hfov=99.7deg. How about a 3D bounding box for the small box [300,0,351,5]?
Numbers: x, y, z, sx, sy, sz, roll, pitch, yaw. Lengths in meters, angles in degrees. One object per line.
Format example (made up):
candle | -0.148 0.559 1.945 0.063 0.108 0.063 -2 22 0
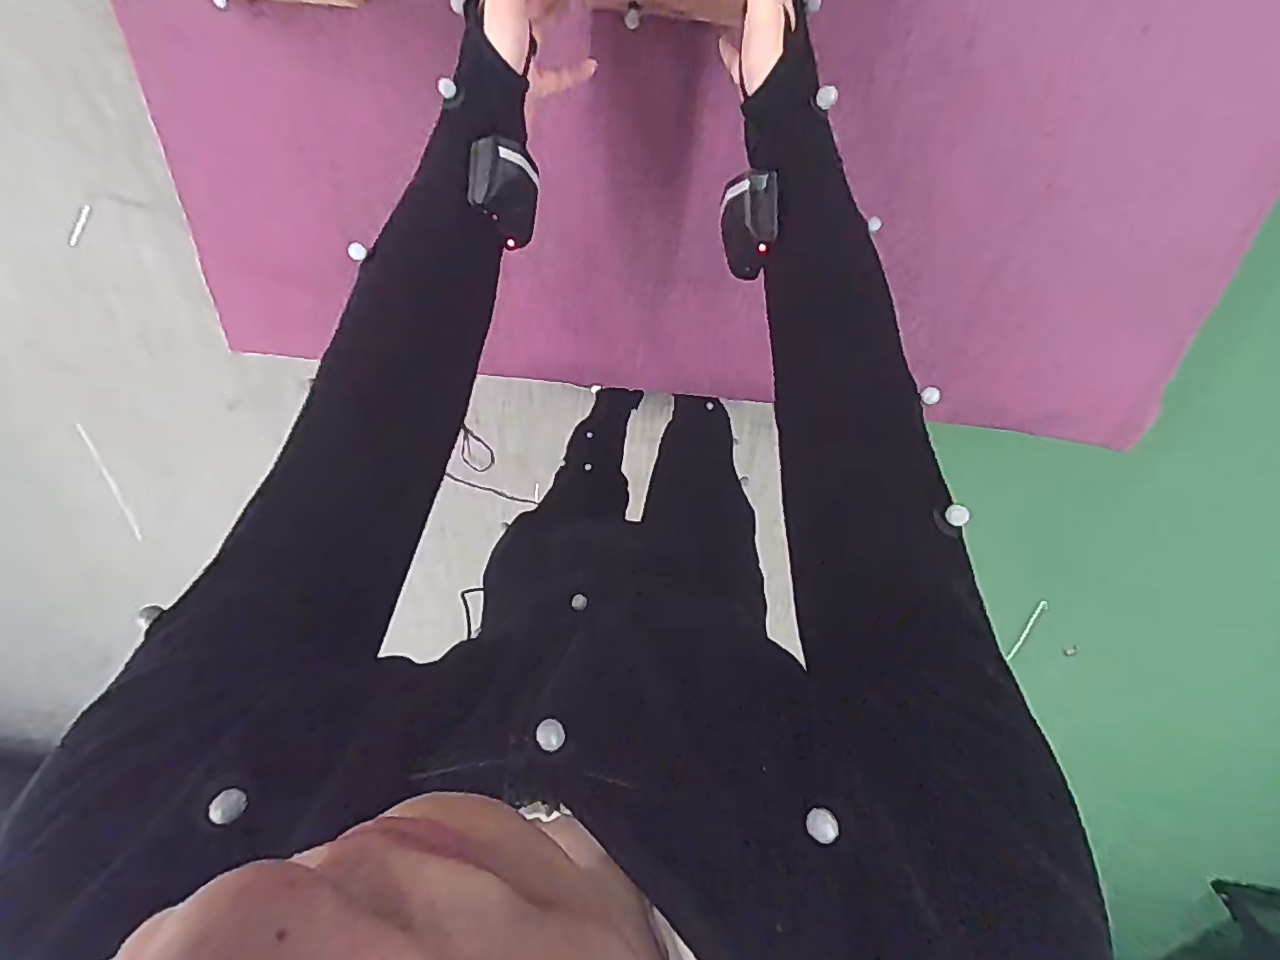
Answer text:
small box | -0.356 -0.506 0.426 0.168 0.176 0.179 7 123 1

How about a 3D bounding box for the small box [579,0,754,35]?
small box | 0.021 -0.474 0.414 0.168 0.176 0.179 9 124 1
